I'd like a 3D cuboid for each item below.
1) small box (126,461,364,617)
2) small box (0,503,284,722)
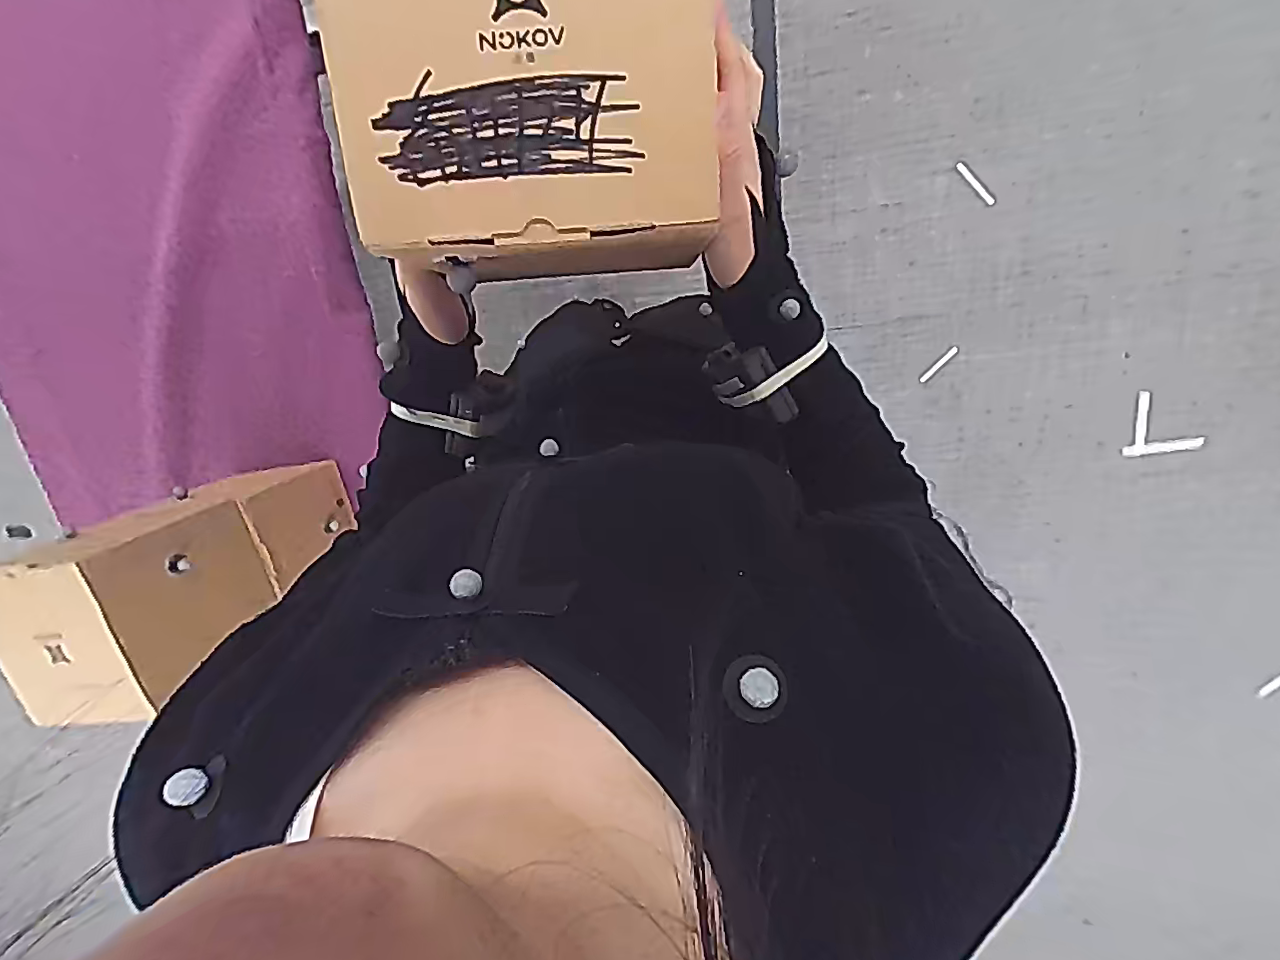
[{"bbox_3d":[-0.527,0.081,0.748,0.179,0.176,0.168,-8,107,10],"label":"small box"},{"bbox_3d":[-0.548,0.134,0.597,0.168,0.176,0.179,-8,108,12],"label":"small box"}]
